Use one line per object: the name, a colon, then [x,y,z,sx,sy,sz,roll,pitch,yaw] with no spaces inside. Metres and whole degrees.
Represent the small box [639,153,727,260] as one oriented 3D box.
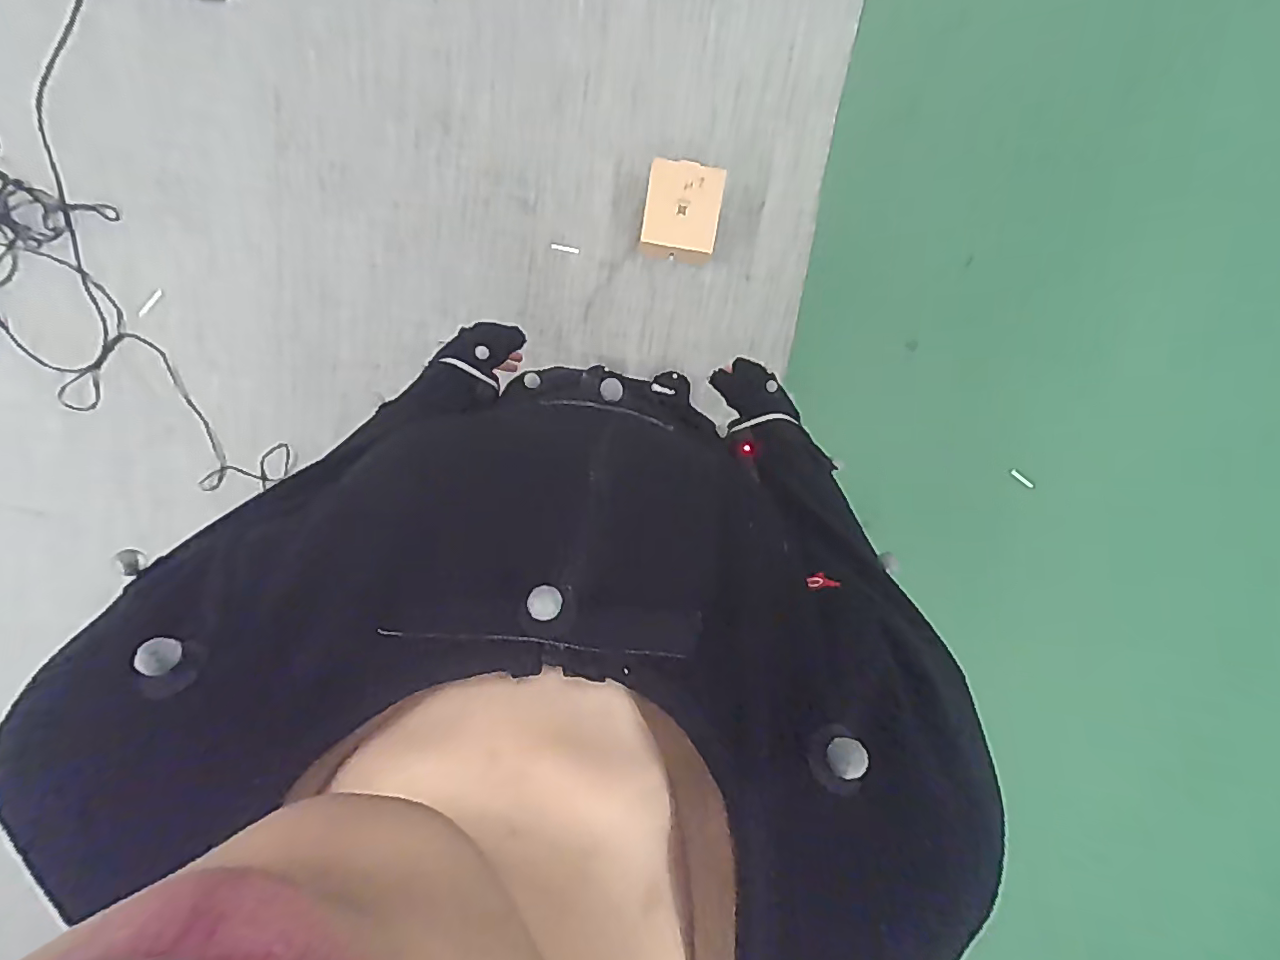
small box: [0.095,-0.621,1.251,0.168,0.176,0.179,9,104,-2]
